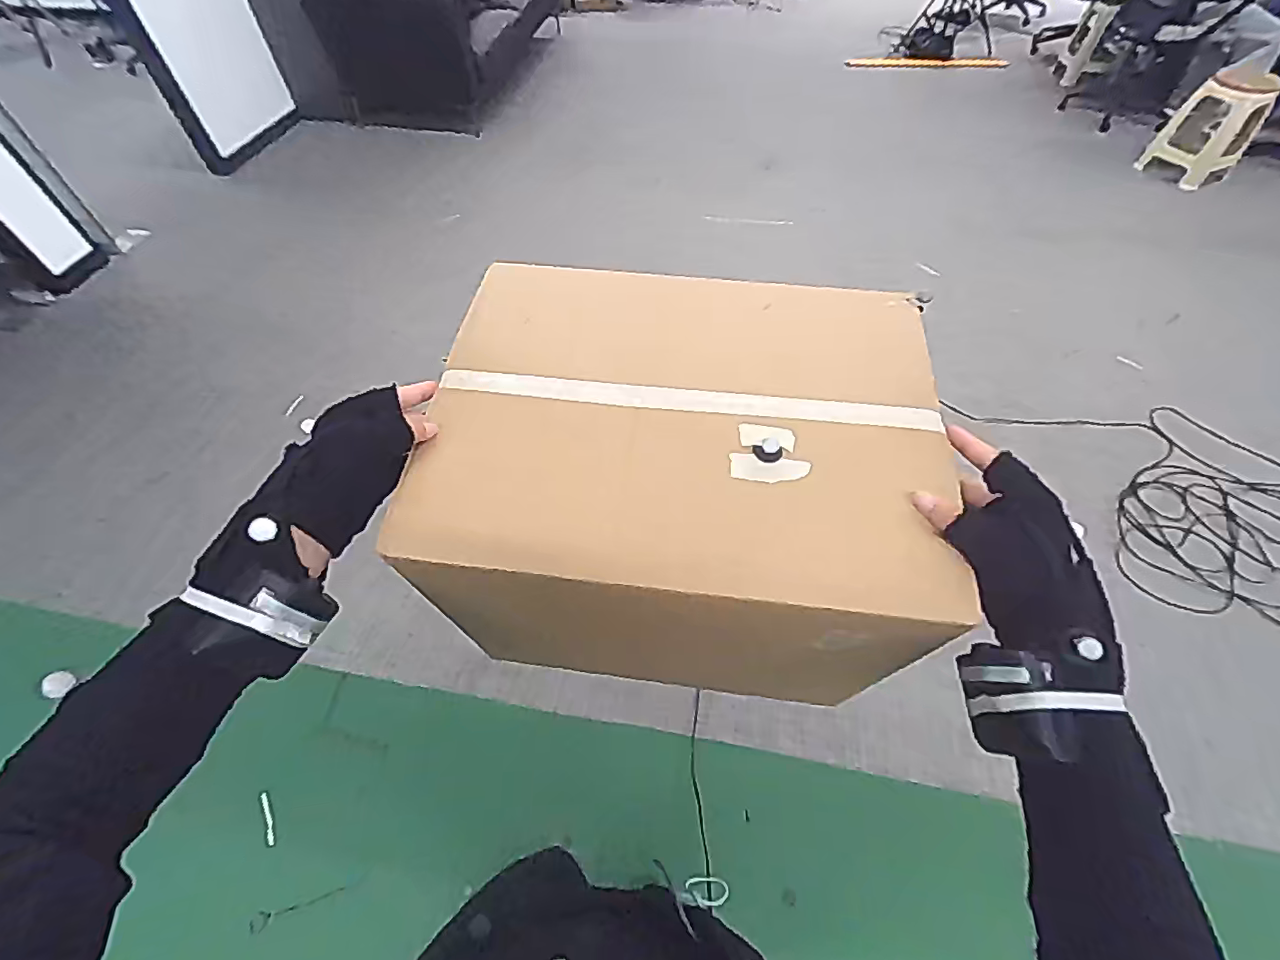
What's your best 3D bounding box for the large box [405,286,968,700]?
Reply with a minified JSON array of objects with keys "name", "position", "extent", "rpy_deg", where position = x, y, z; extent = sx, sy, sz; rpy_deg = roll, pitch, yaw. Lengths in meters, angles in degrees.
[{"name":"large box","position":[0.040,0.028,0.579],"extent":[0.408,0.320,0.320],"rpy_deg":[6,59,3]}]
